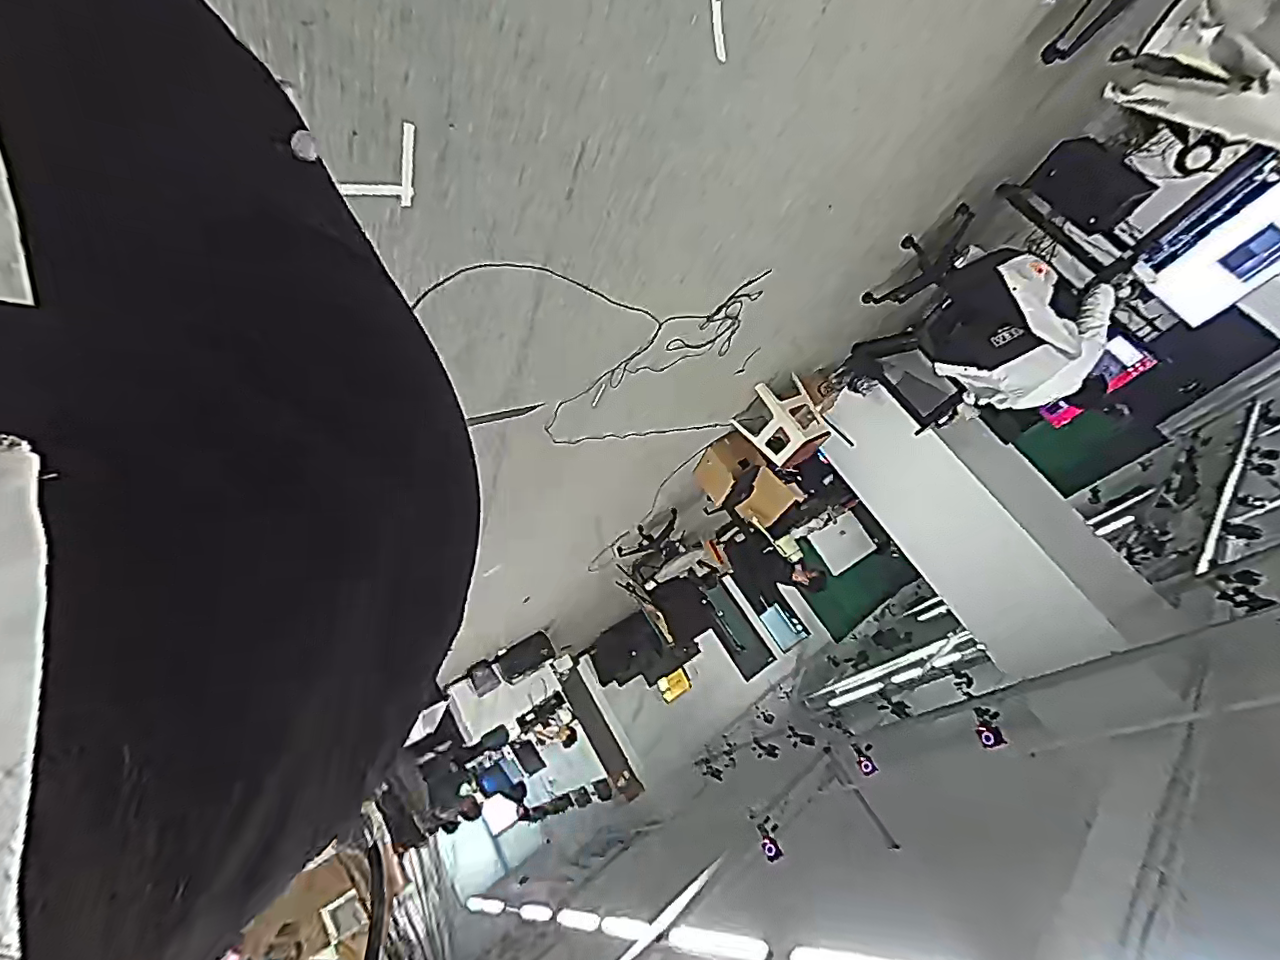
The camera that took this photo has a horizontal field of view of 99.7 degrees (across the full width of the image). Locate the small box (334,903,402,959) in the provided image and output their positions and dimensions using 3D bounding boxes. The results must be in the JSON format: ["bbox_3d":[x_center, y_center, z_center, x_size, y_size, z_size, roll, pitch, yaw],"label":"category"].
[{"bbox_3d":[-0.950,1.626,1.894,0.168,0.176,0.179,-22,160,-30],"label":"small box"}]
